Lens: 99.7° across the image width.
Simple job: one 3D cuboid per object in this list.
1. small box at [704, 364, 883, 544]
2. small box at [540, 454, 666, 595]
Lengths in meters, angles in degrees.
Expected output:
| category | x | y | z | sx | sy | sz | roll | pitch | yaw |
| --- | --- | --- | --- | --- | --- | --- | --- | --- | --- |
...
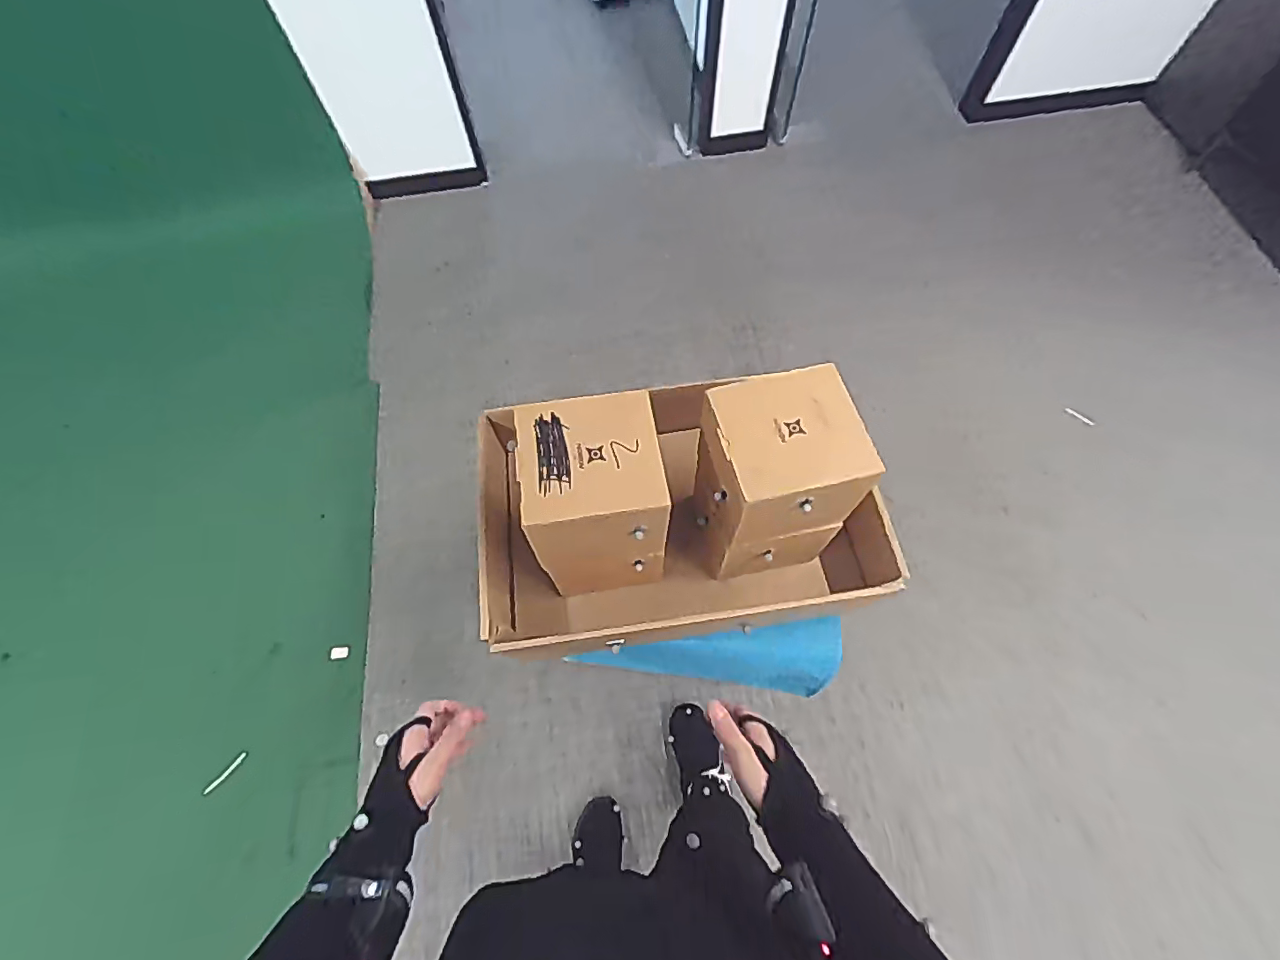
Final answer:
| category | x | y | z | sx | sy | sz | roll | pitch | yaw |
| --- | --- | --- | --- | --- | --- | --- | --- | --- | --- |
| small box | 0.189 | -0.026 | 0.731 | 0.179 | 0.176 | 0.168 | -13 | 65 | -3 |
| small box | -0.056 | 0.079 | 0.876 | 0.179 | 0.176 | 0.168 | -8 | 64 | -3 |
